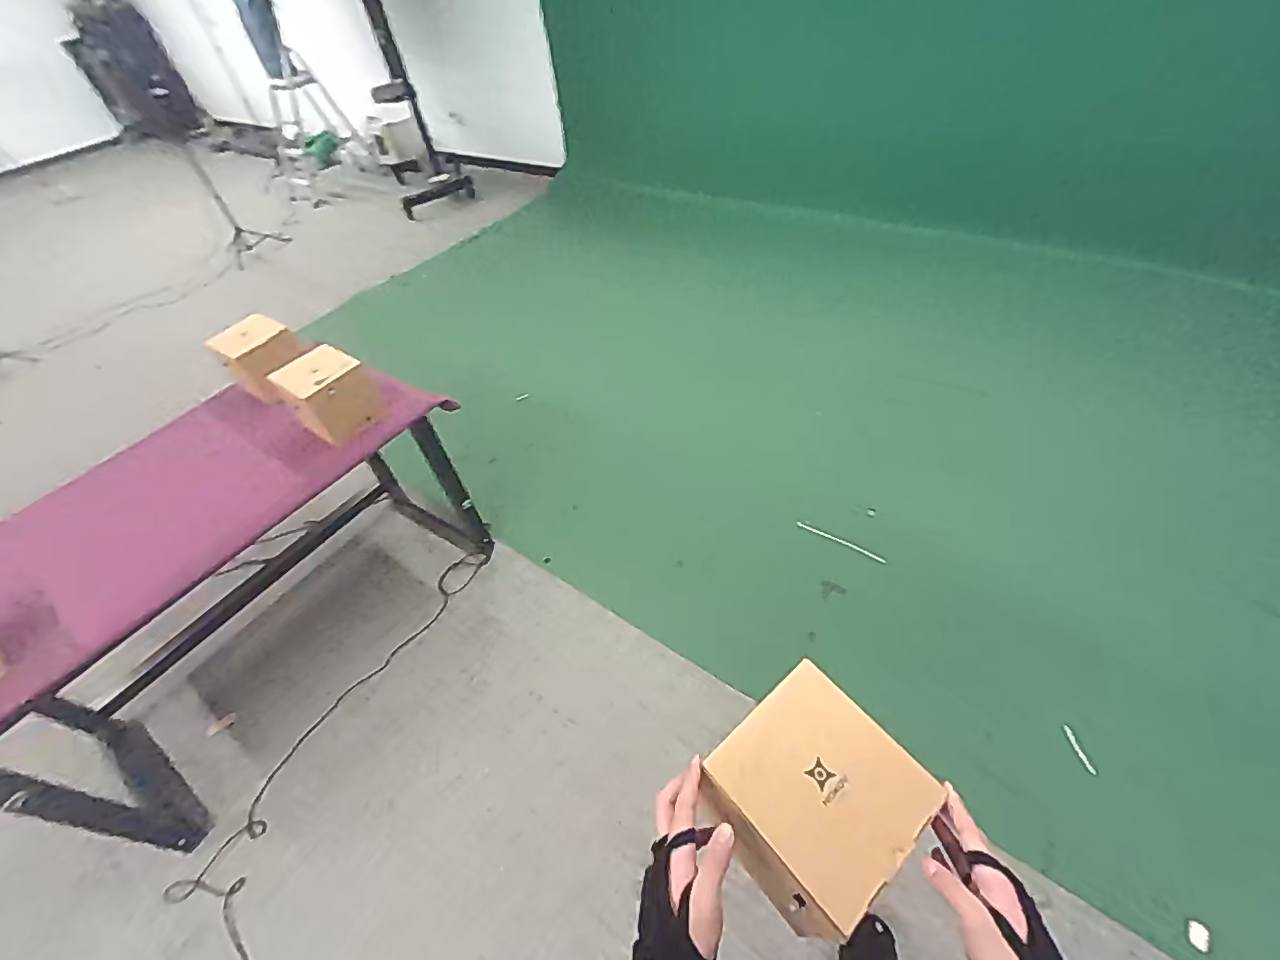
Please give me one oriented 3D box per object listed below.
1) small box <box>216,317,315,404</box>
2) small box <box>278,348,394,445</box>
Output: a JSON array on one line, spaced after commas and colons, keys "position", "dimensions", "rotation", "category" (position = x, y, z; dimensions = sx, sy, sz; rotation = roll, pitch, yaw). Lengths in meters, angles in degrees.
[{"position": [-1.085, -0.351, 1.600], "dimensions": [0.179, 0.176, 0.168], "rotation": [24, 59, 26], "category": "small box"}, {"position": [-0.799, -0.219, 1.435], "dimensions": [0.179, 0.176, 0.168], "rotation": [25, 59, 28], "category": "small box"}]
